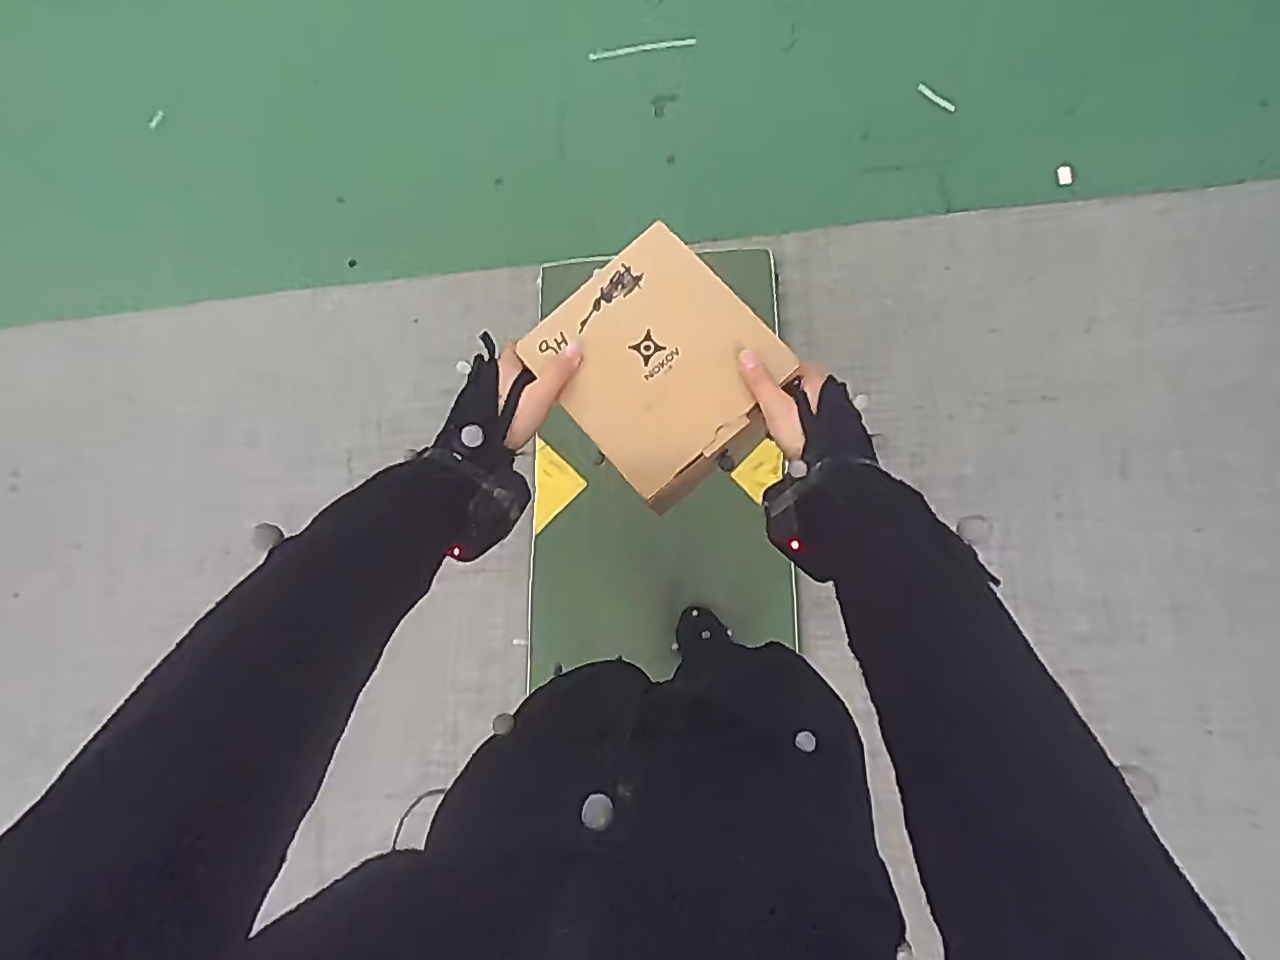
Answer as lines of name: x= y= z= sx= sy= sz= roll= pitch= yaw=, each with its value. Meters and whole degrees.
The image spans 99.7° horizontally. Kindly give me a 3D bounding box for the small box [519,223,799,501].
small box: x=0.020 y=-0.094 z=0.521 sx=0.168 sy=0.176 sz=0.179 roll=-41 pitch=82 yaw=-1
